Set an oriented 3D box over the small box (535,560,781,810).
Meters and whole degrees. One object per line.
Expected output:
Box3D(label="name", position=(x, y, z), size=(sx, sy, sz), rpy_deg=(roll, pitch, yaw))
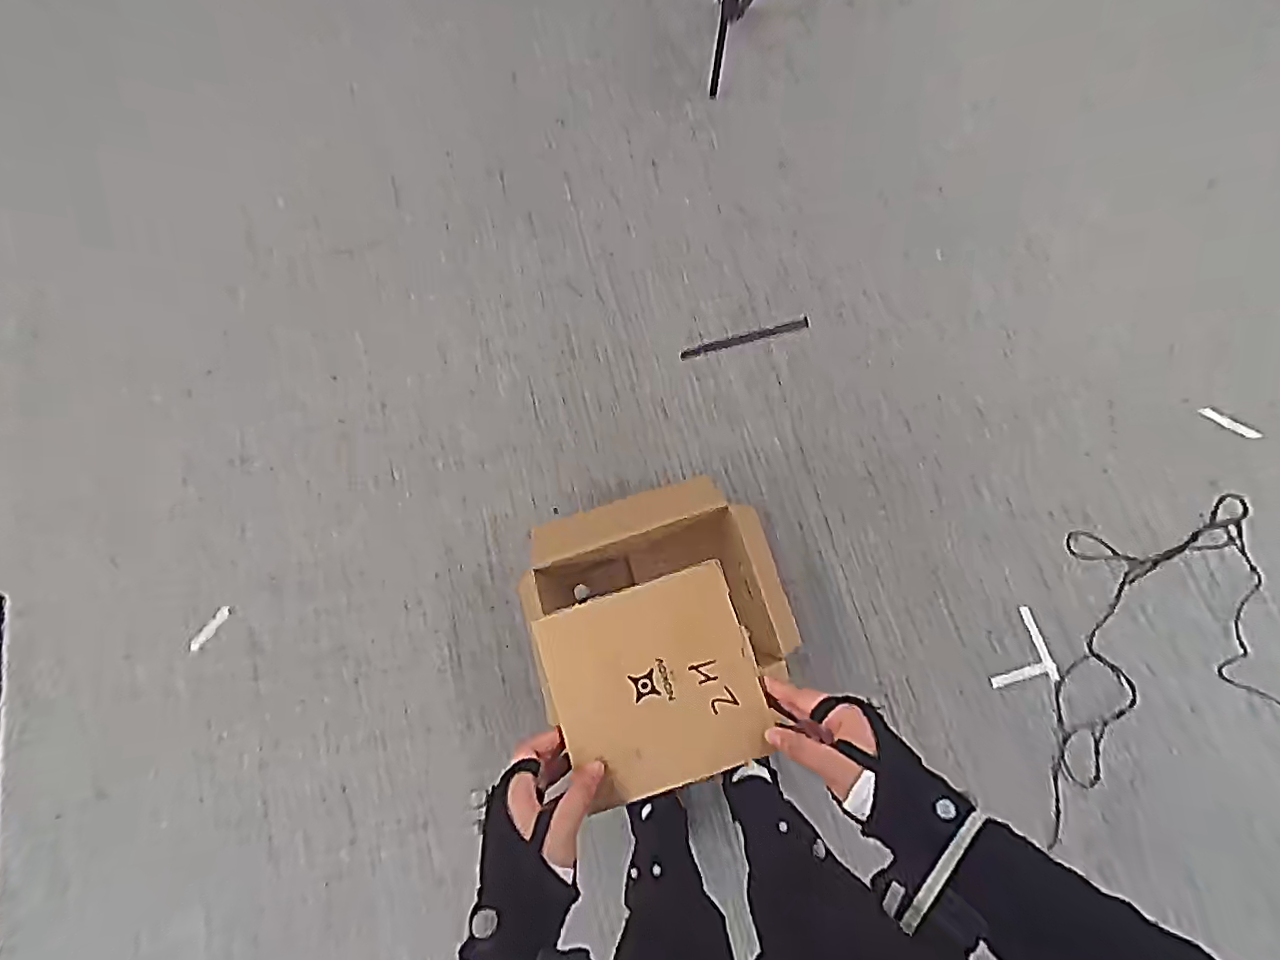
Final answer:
Box3D(label="small box", position=(0.016, 0.186, 0.537), size=(0.179, 0.176, 0.168), rpy_deg=(-18, 80, -1))
